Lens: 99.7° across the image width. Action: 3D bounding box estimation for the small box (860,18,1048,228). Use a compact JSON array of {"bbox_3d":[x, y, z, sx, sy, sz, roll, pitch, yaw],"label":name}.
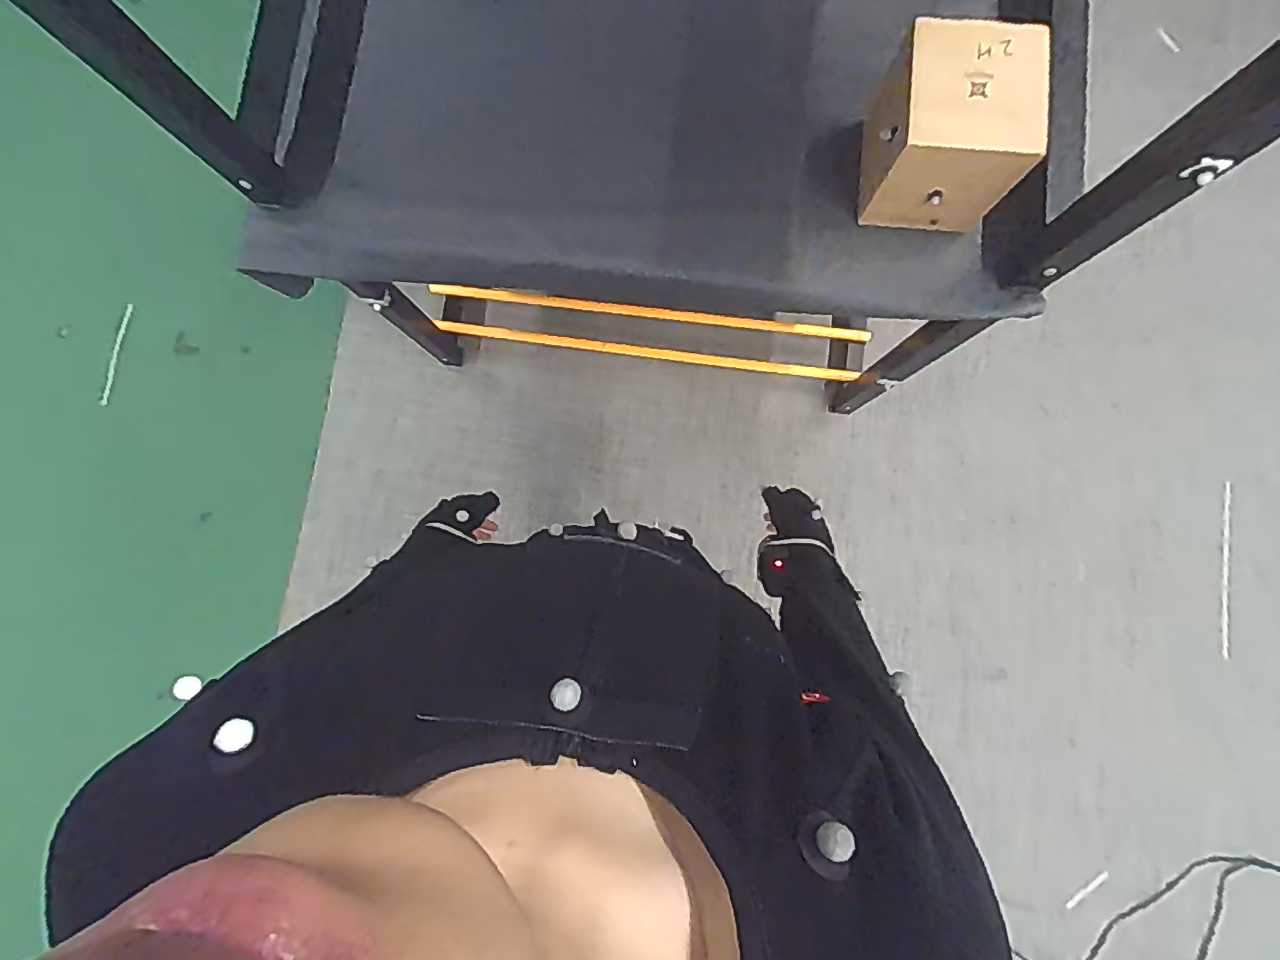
[{"bbox_3d":[0.414,-0.473,0.740,0.168,0.176,0.179,6,83,2],"label":"small box"}]
